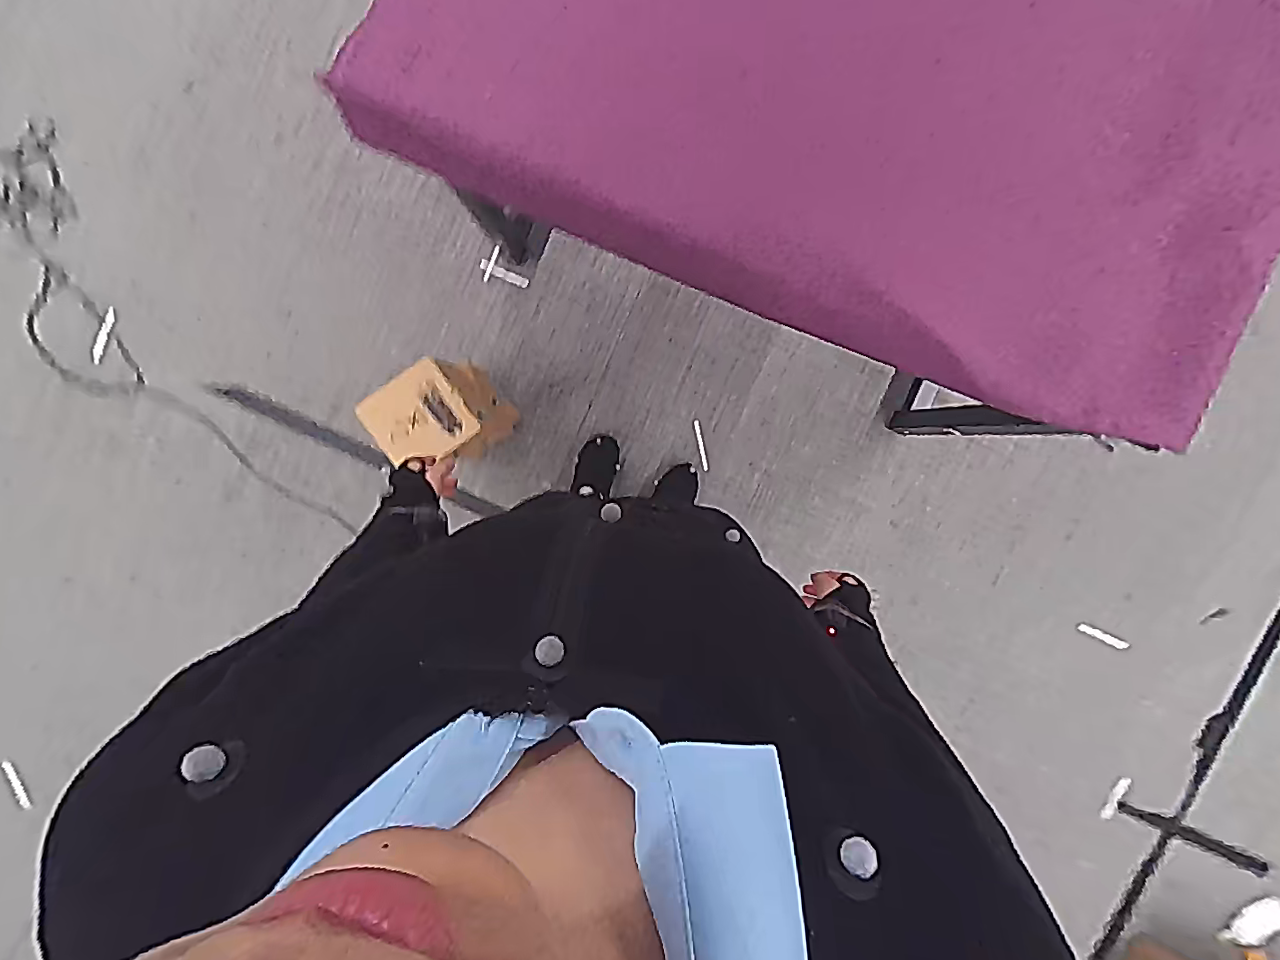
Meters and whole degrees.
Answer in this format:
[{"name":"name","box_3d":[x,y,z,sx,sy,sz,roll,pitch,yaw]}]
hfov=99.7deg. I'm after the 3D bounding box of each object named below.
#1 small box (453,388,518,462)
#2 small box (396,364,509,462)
[{"name":"small box","box_3d":[-0.439,-0.165,1.393,0.179,0.176,0.168,-43,94,2]},{"name":"small box","box_3d":[-0.412,-0.150,1.230,0.179,0.176,0.168,-22,94,1]}]
